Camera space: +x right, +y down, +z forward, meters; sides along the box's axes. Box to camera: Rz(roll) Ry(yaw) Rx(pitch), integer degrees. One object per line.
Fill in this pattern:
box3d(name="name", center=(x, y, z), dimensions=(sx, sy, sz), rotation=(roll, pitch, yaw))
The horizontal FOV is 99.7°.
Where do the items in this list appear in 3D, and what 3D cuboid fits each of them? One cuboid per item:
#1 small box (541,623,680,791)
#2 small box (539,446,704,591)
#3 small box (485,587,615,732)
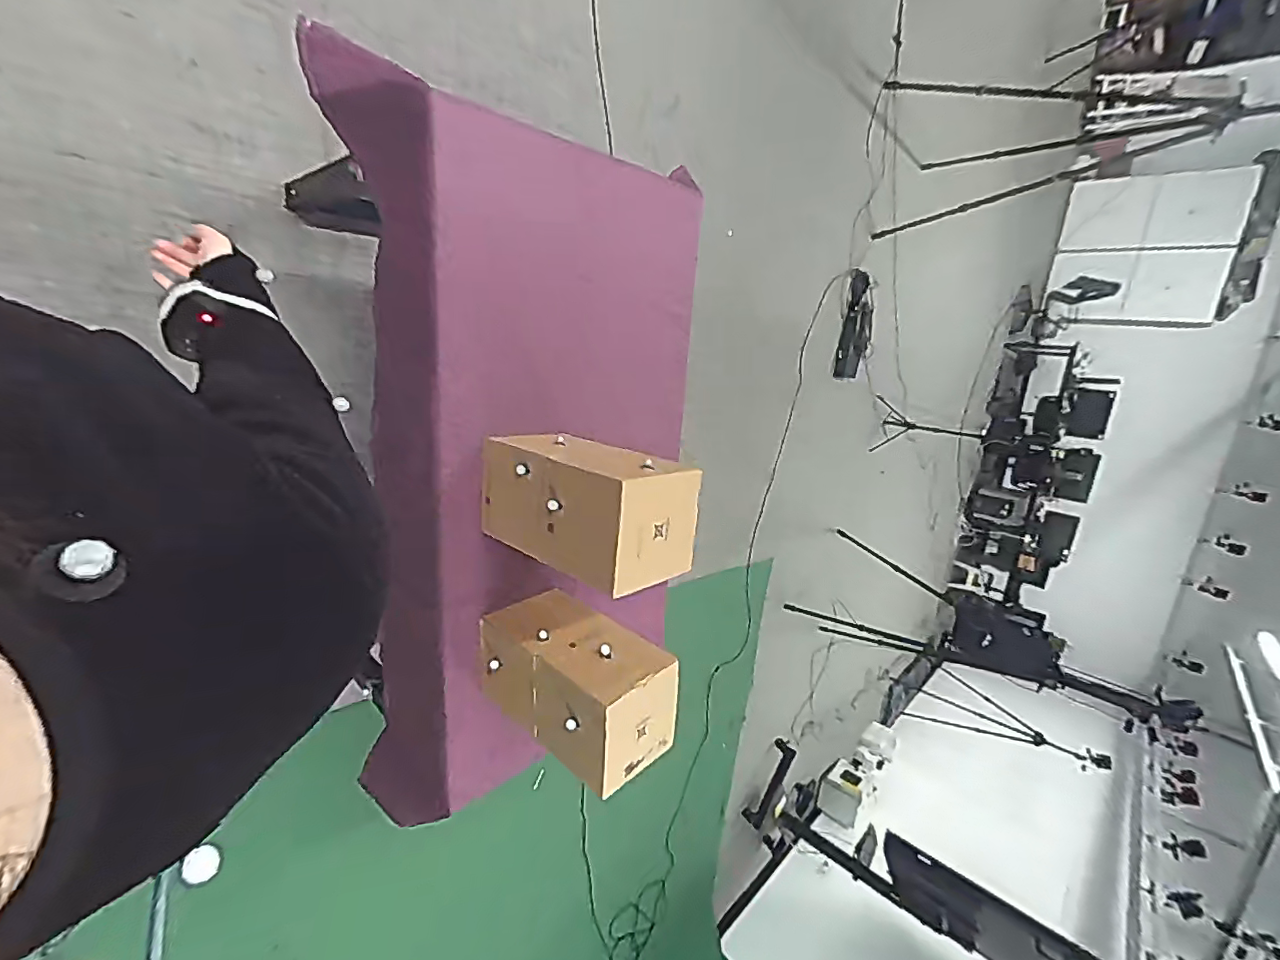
box3d(name="small box", center=(-0.052, 0.360, 0.901), dimensions=(0.168, 0.176, 0.179), rotation=(-14, 112, -44))
box3d(name="small box", center=(-0.028, 0.045, 0.819), dimensions=(0.179, 0.176, 0.168), rotation=(-8, 108, -47))
box3d(name="small box", center=(-0.169, 0.321, 1.011), dimensions=(0.179, 0.176, 0.168), rotation=(-14, 113, -44))
